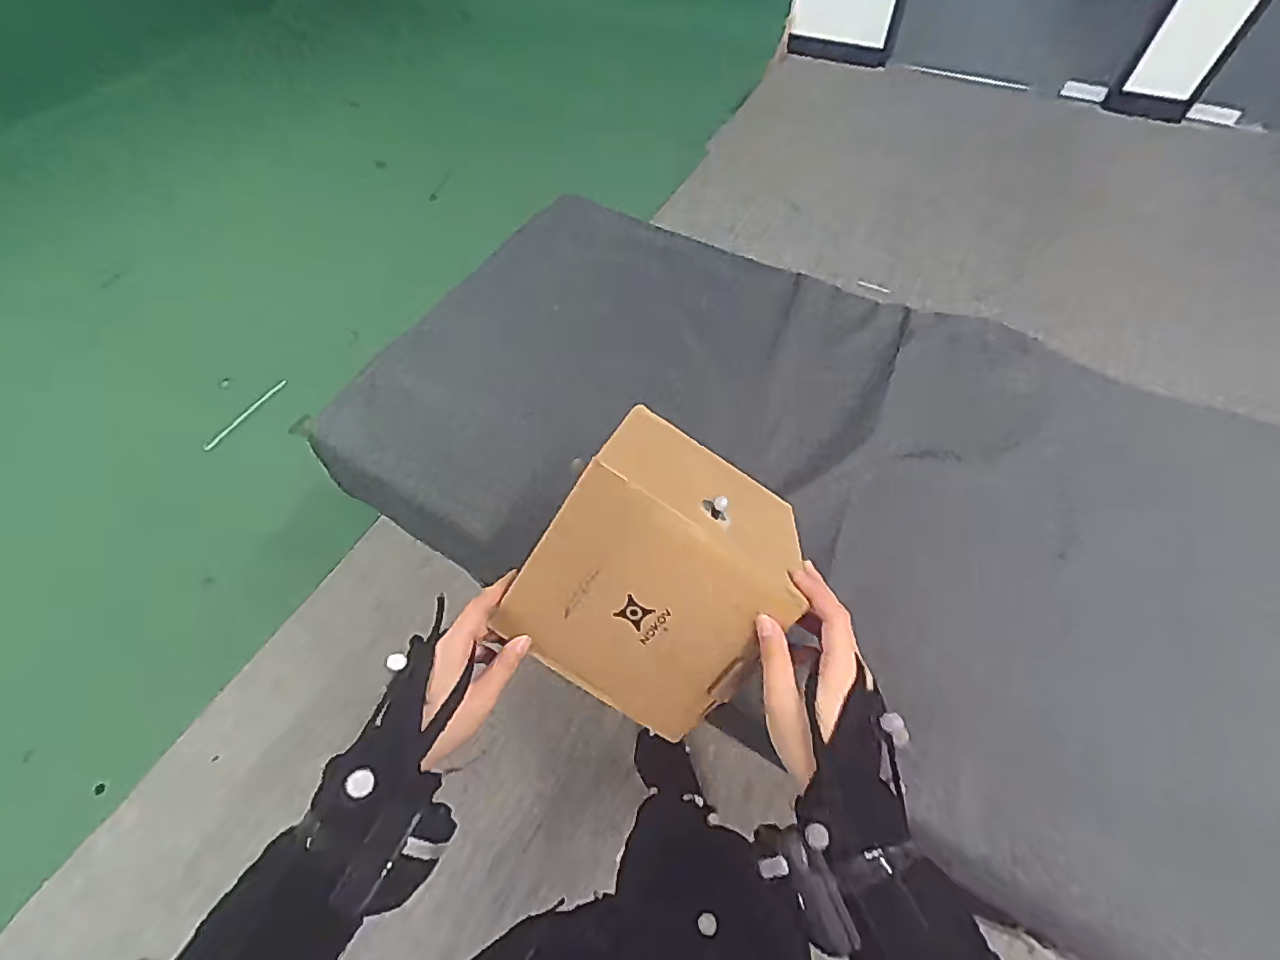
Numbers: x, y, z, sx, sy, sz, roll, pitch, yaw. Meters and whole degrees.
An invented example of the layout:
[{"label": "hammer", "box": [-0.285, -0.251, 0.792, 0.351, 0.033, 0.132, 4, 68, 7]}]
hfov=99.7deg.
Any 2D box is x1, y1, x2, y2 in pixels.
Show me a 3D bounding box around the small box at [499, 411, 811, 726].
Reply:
[{"label": "small box", "box": [0.017, 0.060, 0.465, 0.179, 0.168, 0.176, 32, 21, -2]}]
